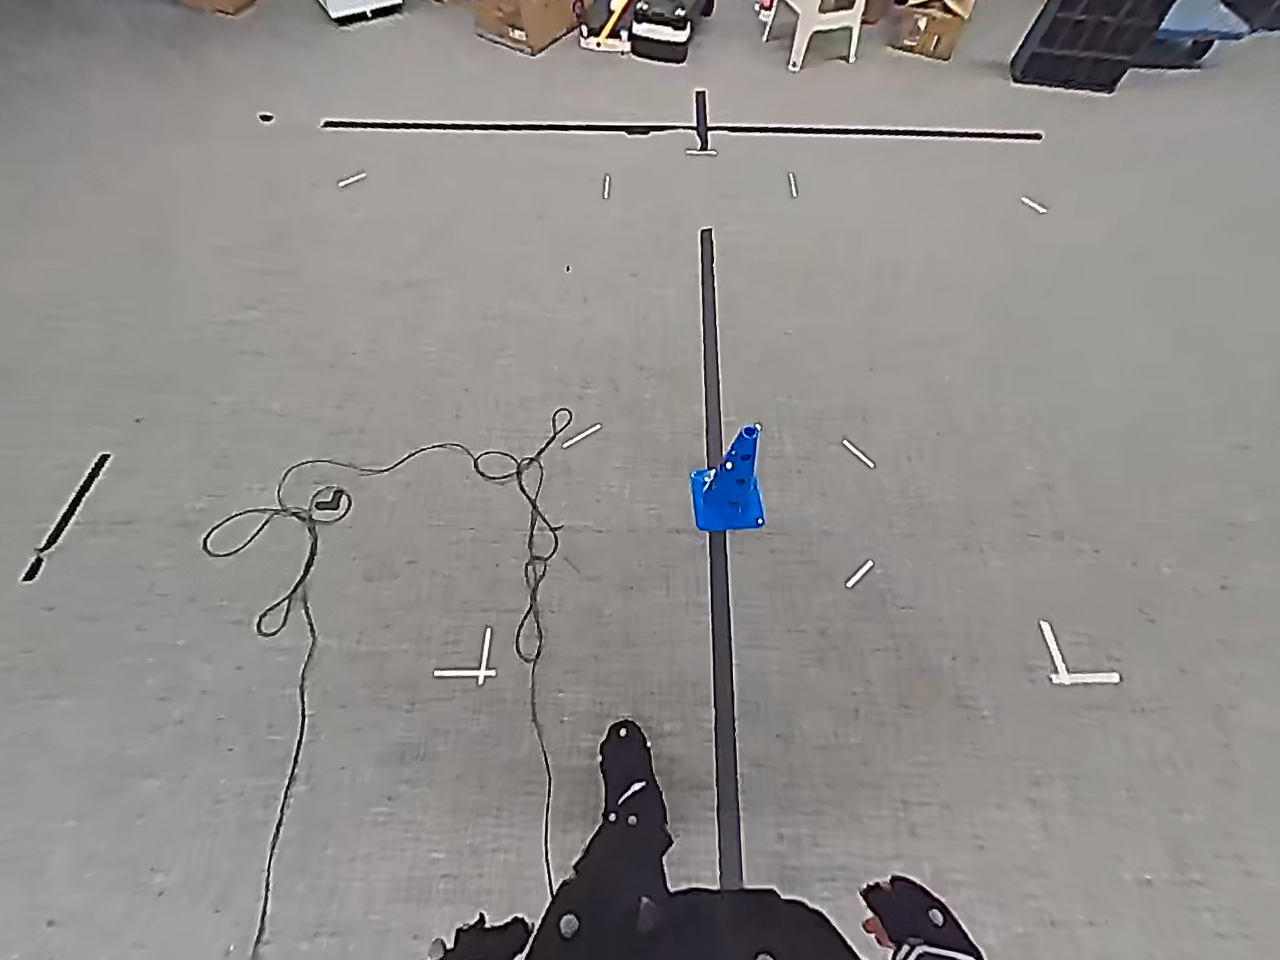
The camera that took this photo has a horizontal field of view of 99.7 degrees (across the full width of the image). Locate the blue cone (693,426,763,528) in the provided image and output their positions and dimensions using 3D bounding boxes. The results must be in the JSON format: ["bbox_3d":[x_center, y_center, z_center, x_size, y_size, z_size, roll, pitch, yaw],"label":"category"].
[{"bbox_3d":[0.261,-0.025,1.449,0.192,0.380,0.193,-1,61,-3],"label":"blue cone"}]
